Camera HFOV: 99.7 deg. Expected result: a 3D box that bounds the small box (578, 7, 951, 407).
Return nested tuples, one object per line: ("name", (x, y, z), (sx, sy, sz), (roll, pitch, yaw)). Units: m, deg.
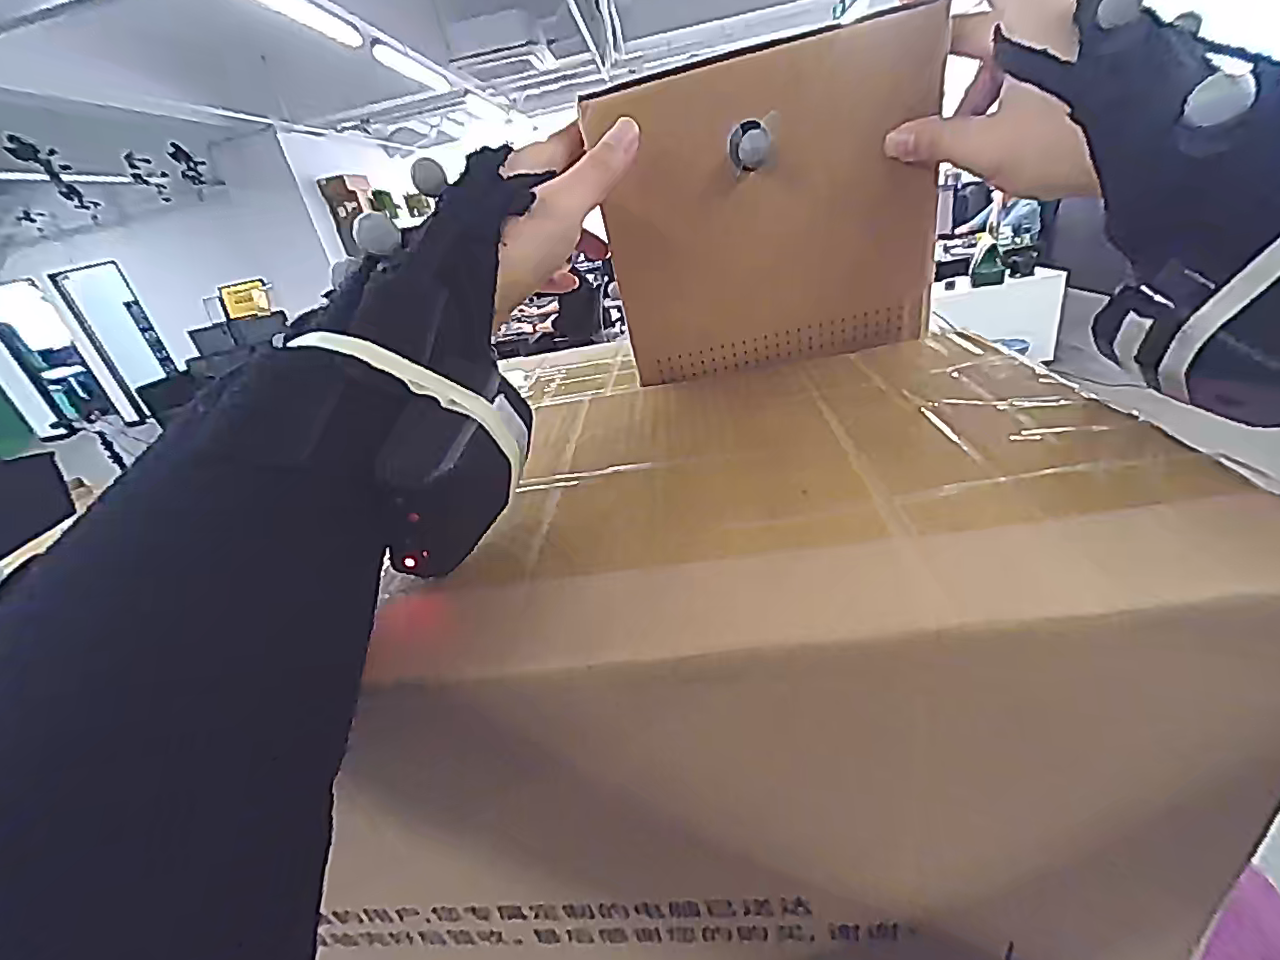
("small box", (0.070, -0.168, 0.356), (0.179, 0.176, 0.168), (-12, 32, 5))
